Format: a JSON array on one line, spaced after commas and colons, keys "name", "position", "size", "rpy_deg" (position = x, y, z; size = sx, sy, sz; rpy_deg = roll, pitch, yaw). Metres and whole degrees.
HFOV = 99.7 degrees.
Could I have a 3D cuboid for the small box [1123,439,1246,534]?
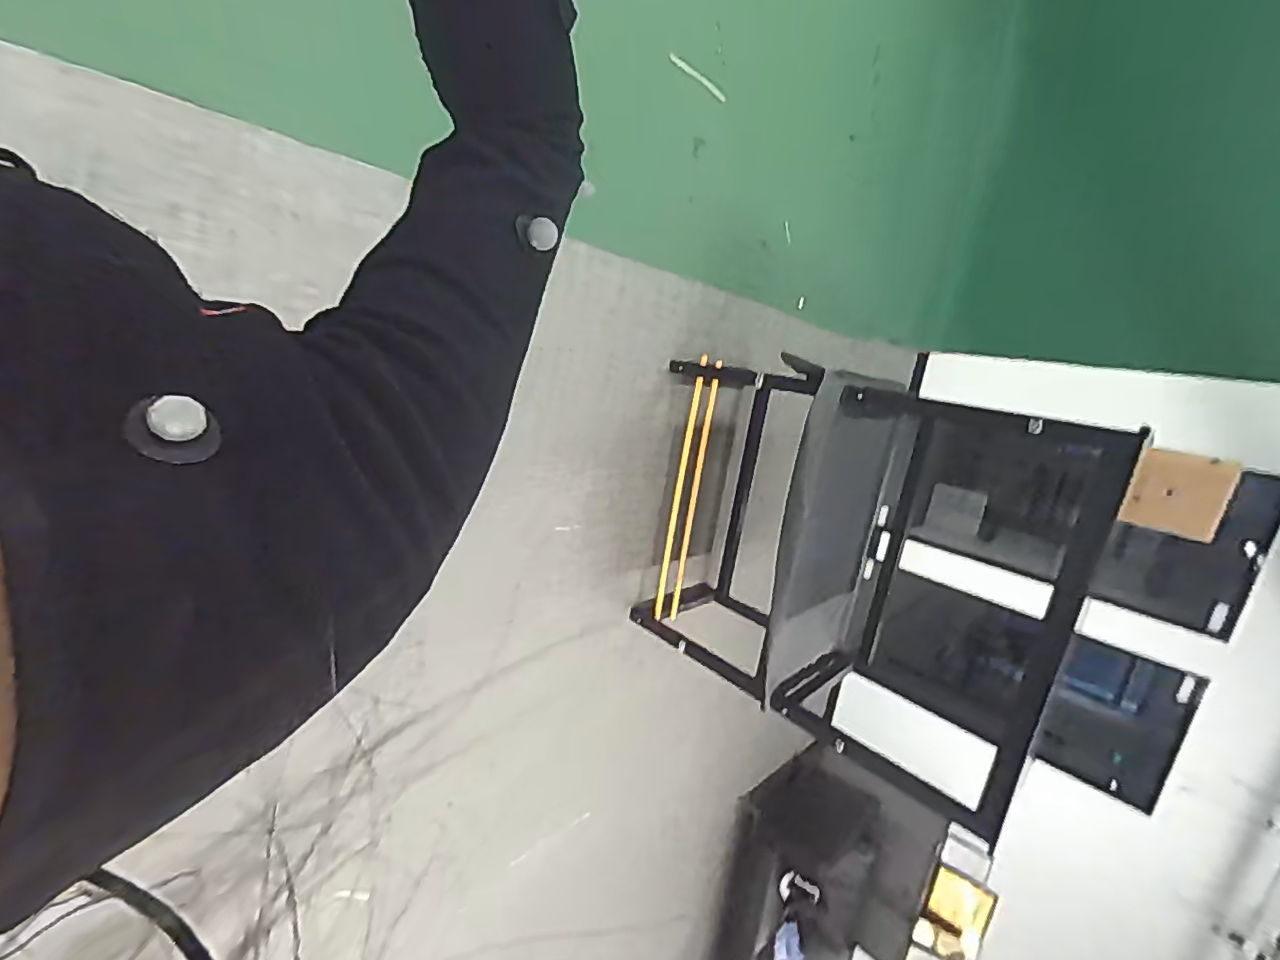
[{"name": "small box", "position": [1.281, 0.008, 1.280], "size": [0.179, 0.176, 0.168], "rpy_deg": [-14, 117, -43]}]
